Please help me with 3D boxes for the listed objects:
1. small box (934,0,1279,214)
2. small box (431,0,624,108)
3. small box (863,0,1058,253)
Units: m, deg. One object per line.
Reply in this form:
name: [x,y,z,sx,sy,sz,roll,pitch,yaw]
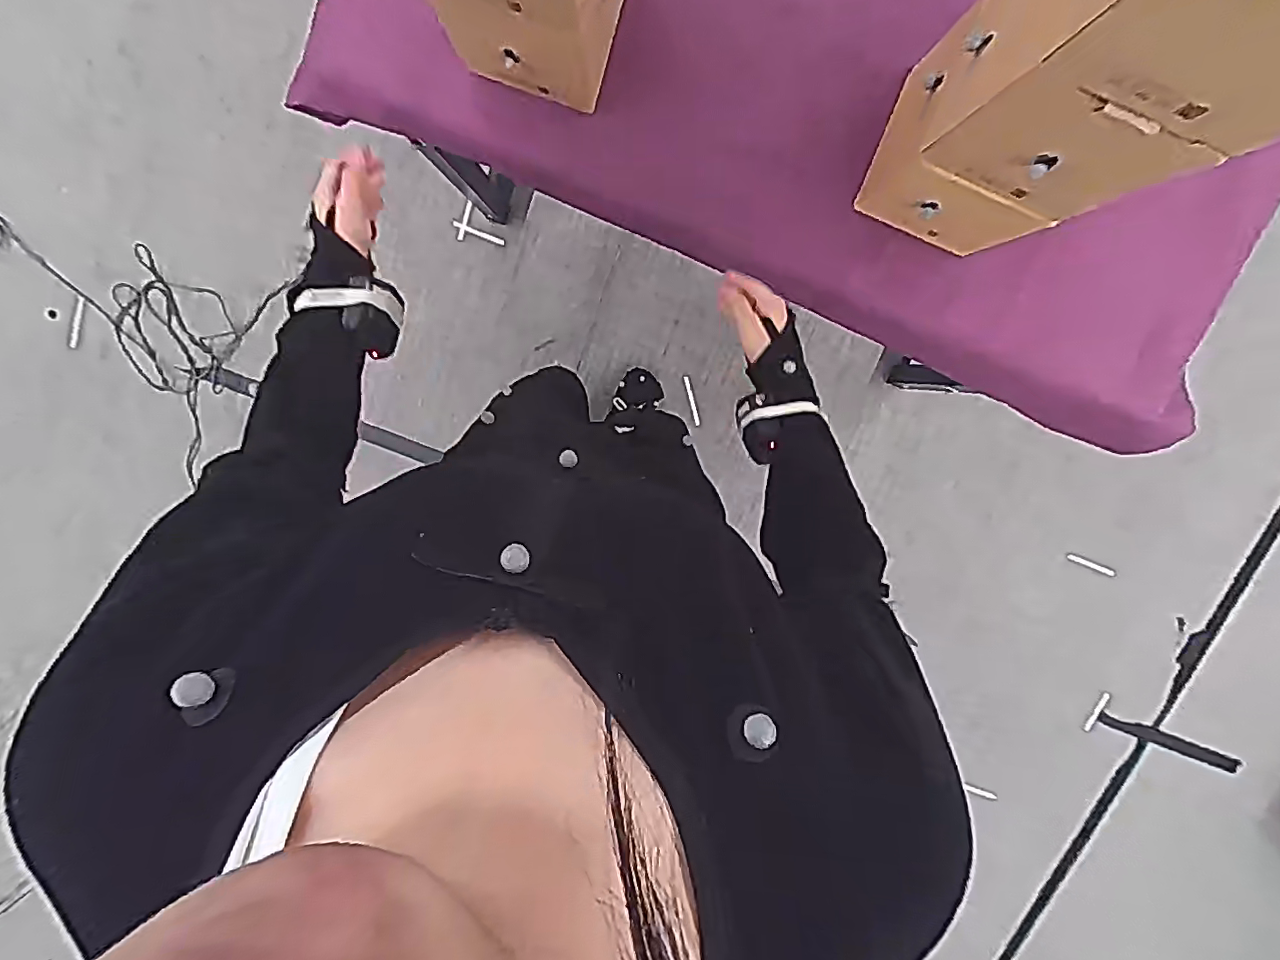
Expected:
small box: [0.389,-0.357,0.457,0.168,0.176,0.179,22,100,-5]
small box: [-0.108,-0.544,0.576,0.168,0.176,0.179,17,100,-5]
small box: [0.384,-0.385,0.619,0.168,0.176,0.179,21,100,-5]
